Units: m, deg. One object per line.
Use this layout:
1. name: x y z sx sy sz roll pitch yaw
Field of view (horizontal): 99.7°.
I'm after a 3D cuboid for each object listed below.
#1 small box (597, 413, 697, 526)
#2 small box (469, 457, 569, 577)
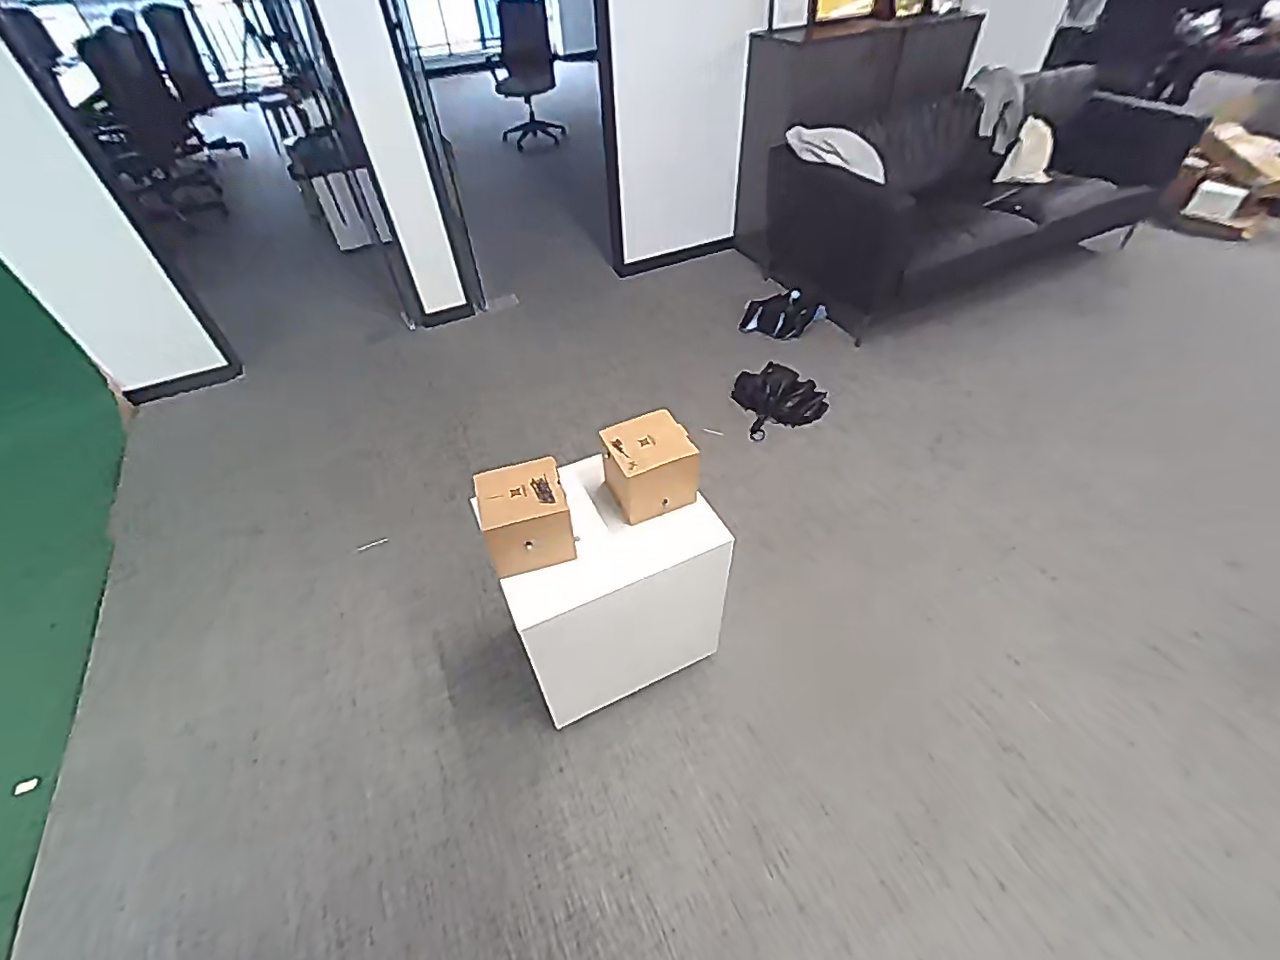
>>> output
1. small box: 0.011 -0.023 1.249 0.179 0.176 0.168 -18 48 -17
2. small box: -0.252 0.080 1.148 0.179 0.176 0.168 -13 47 -13
